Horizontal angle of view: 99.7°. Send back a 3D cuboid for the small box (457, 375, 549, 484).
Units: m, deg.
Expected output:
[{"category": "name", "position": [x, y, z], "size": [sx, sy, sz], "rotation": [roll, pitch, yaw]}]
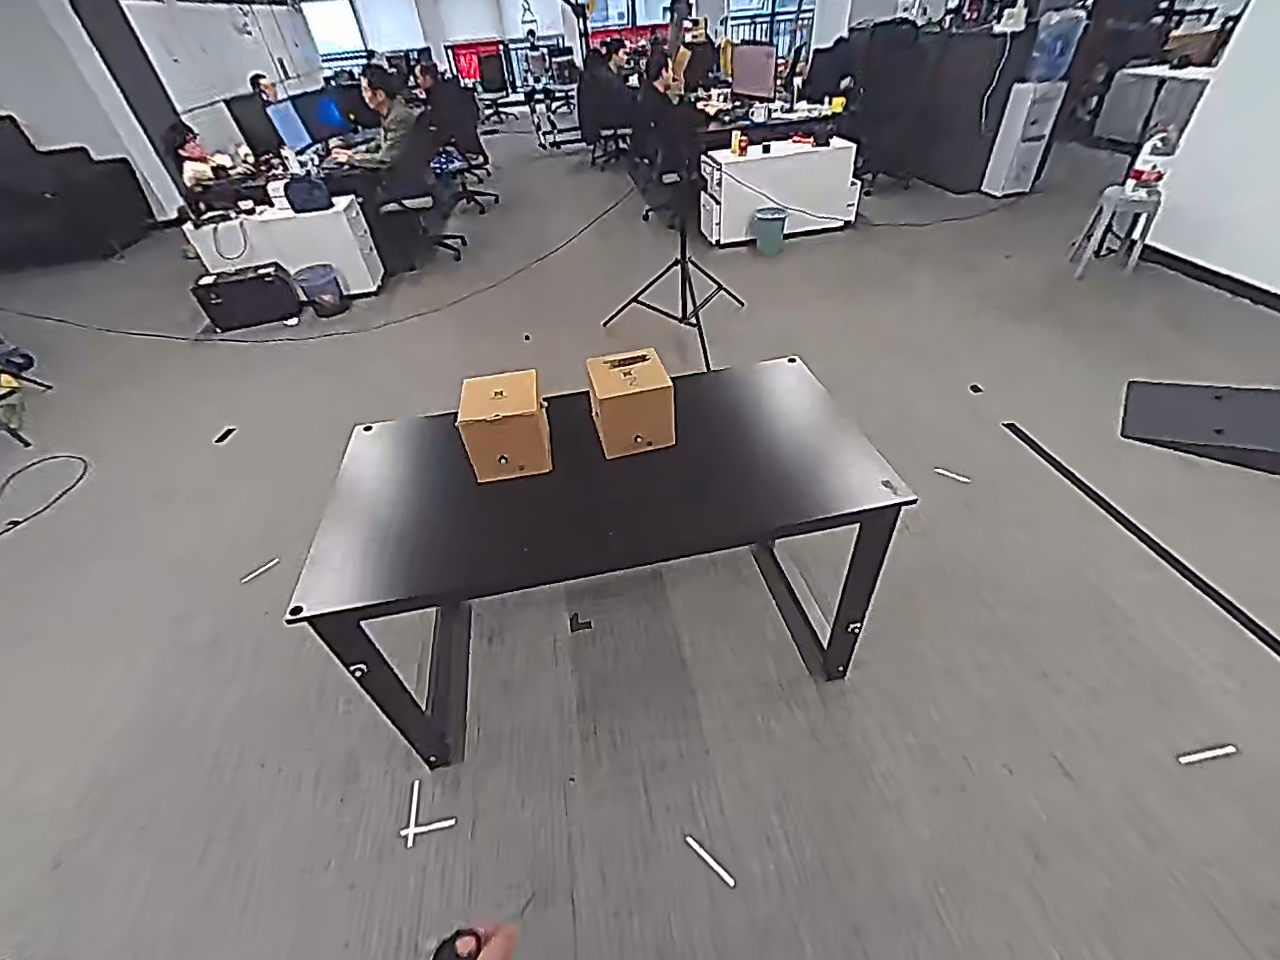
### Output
[{"category": "small box", "position": [-0.303, -0.115, 1.230], "size": [0.168, 0.176, 0.179], "rotation": [-10, 42, -4]}]
